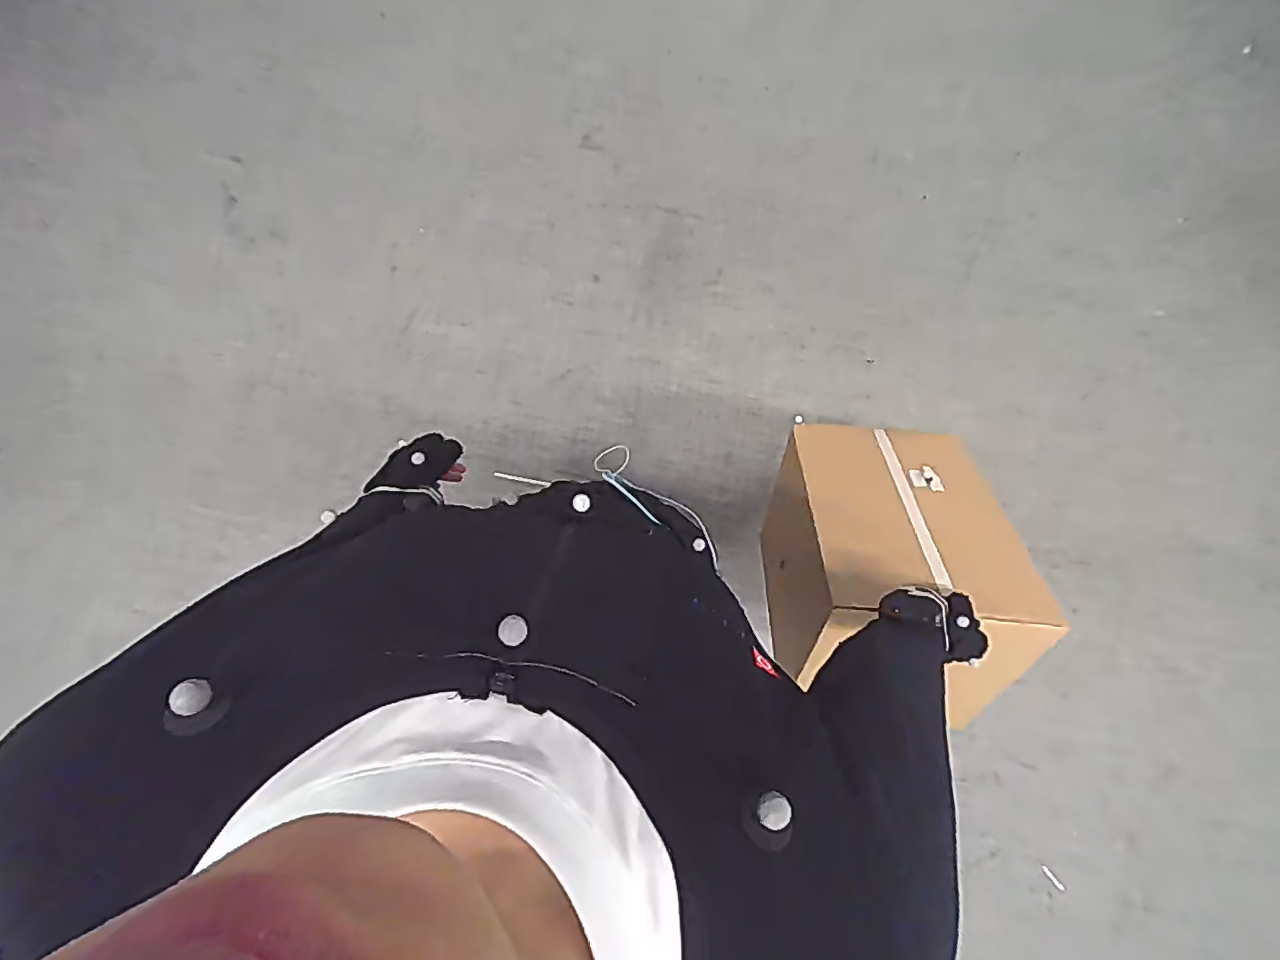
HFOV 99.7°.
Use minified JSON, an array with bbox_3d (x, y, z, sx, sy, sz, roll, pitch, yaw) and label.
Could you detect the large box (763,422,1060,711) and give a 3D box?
[{"bbox_3d":[0.418,0.146,0.967,0.320,0.408,0.320,6,132,1],"label":"large box"}]
